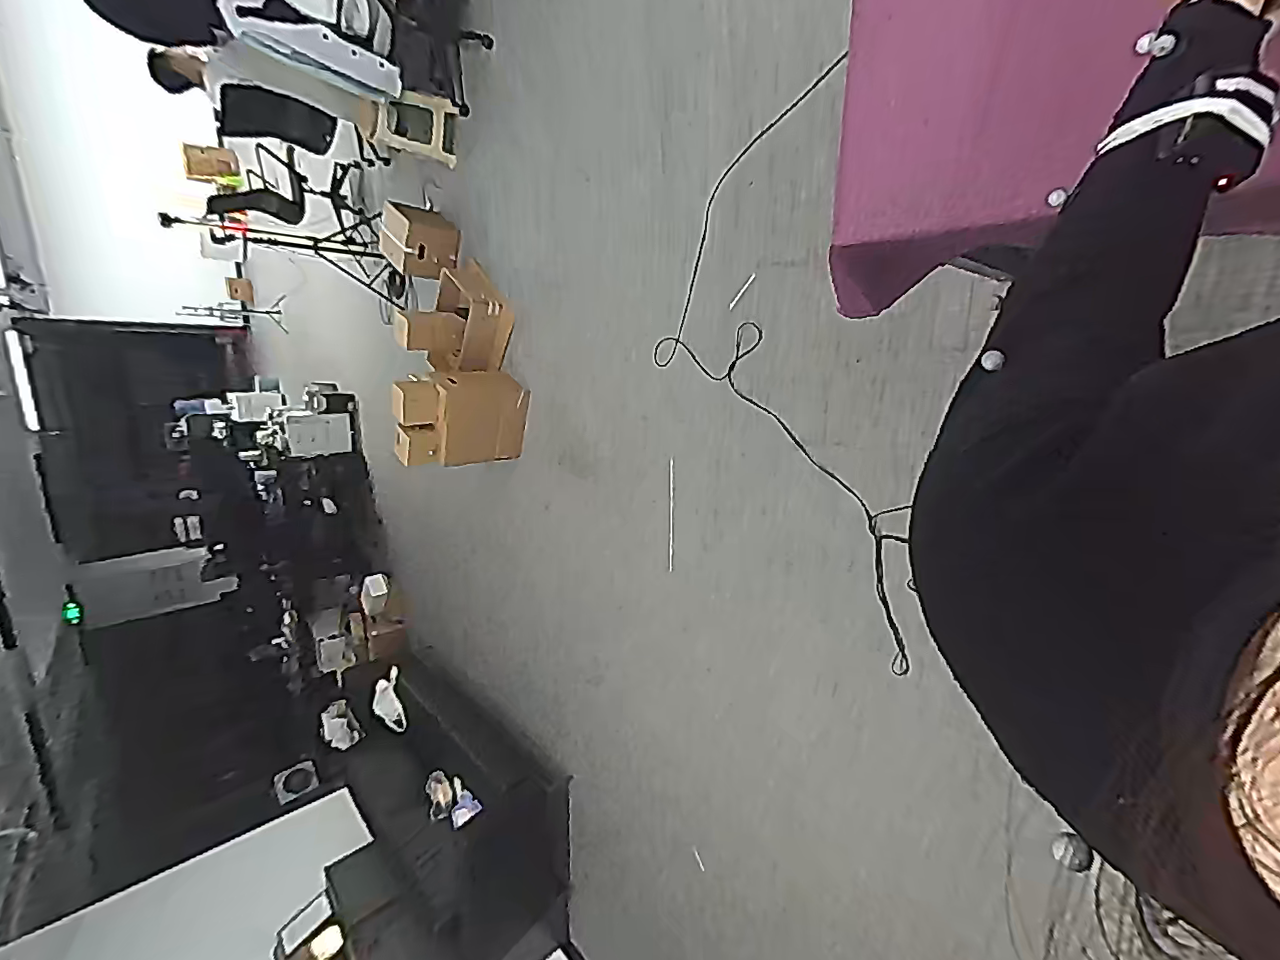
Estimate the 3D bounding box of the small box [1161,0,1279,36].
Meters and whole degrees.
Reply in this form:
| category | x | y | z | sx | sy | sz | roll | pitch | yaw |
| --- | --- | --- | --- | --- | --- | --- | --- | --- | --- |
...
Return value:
| category | x | y | z | sx | sy | sz | roll | pitch | yaw |
| --- | --- | --- | --- | --- | --- | --- | --- | --- | --- |
| small box | 0.543 | -0.501 | 0.424 | 0.168 | 0.176 | 0.179 | 25 | 116 | 43 |
